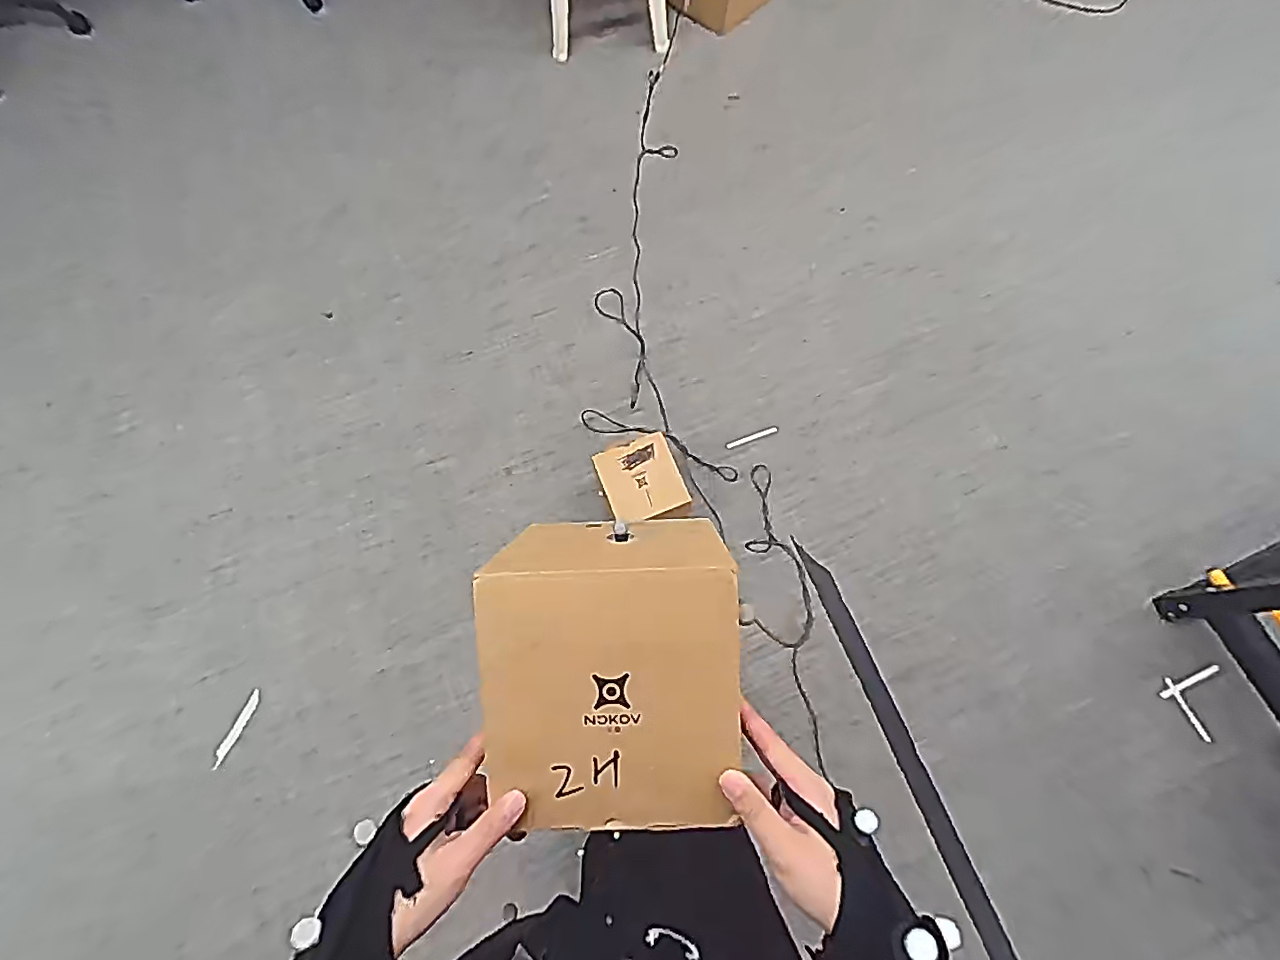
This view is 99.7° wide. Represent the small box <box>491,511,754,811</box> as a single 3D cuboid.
[{"bbox_3d":[-0.008,0.119,0.422,0.168,0.176,0.179,-2,95,2],"label":"small box"}]

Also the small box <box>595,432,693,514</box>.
[{"bbox_3d":[0.006,0.022,1.228,0.168,0.176,0.179,-21,74,-6],"label":"small box"}]
